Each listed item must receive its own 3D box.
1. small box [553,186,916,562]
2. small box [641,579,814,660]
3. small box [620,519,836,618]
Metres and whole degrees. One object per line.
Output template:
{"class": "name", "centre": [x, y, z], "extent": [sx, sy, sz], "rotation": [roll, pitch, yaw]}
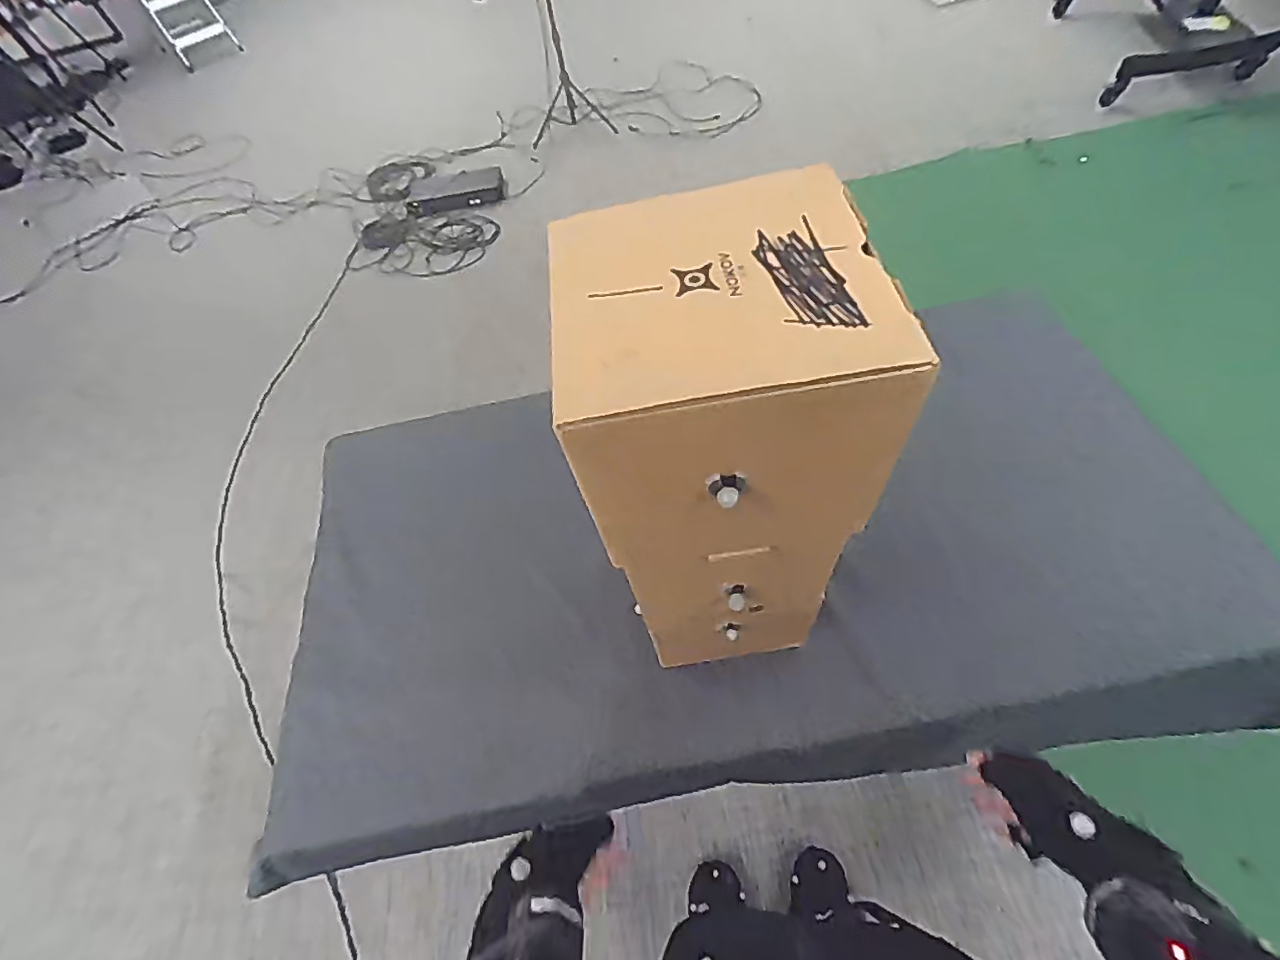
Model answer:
{"class": "small box", "centre": [0.047, -0.060, 0.365], "extent": [0.179, 0.176, 0.168], "rotation": [-9, 57, 3]}
{"class": "small box", "centre": [0.089, 0.105, 0.647], "extent": [0.179, 0.176, 0.168], "rotation": [-10, 57, 1]}
{"class": "small box", "centre": [0.066, 0.020, 0.509], "extent": [0.168, 0.176, 0.179], "rotation": [-10, 58, 2]}
